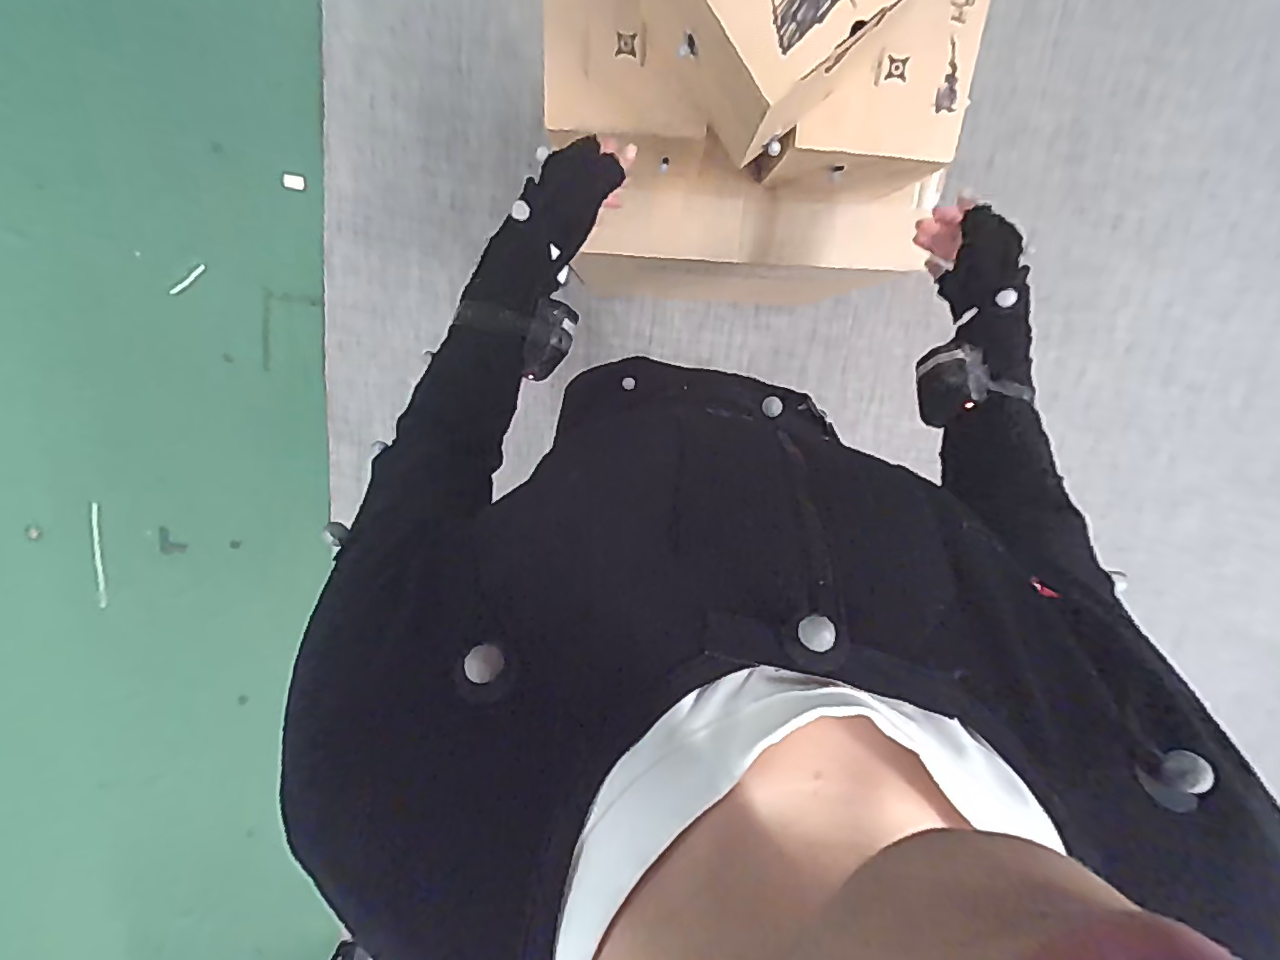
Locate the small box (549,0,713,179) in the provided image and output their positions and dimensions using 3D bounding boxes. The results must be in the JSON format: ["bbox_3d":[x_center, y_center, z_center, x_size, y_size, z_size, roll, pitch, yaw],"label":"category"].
[{"bbox_3d":[-0.006,-0.467,0.632,0.179,0.176,0.168,3,104,1],"label":"small box"}]

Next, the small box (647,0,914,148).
[{"bbox_3d":[0.119,-0.428,0.471,0.168,0.176,0.179,-36,101,9],"label":"small box"}]
